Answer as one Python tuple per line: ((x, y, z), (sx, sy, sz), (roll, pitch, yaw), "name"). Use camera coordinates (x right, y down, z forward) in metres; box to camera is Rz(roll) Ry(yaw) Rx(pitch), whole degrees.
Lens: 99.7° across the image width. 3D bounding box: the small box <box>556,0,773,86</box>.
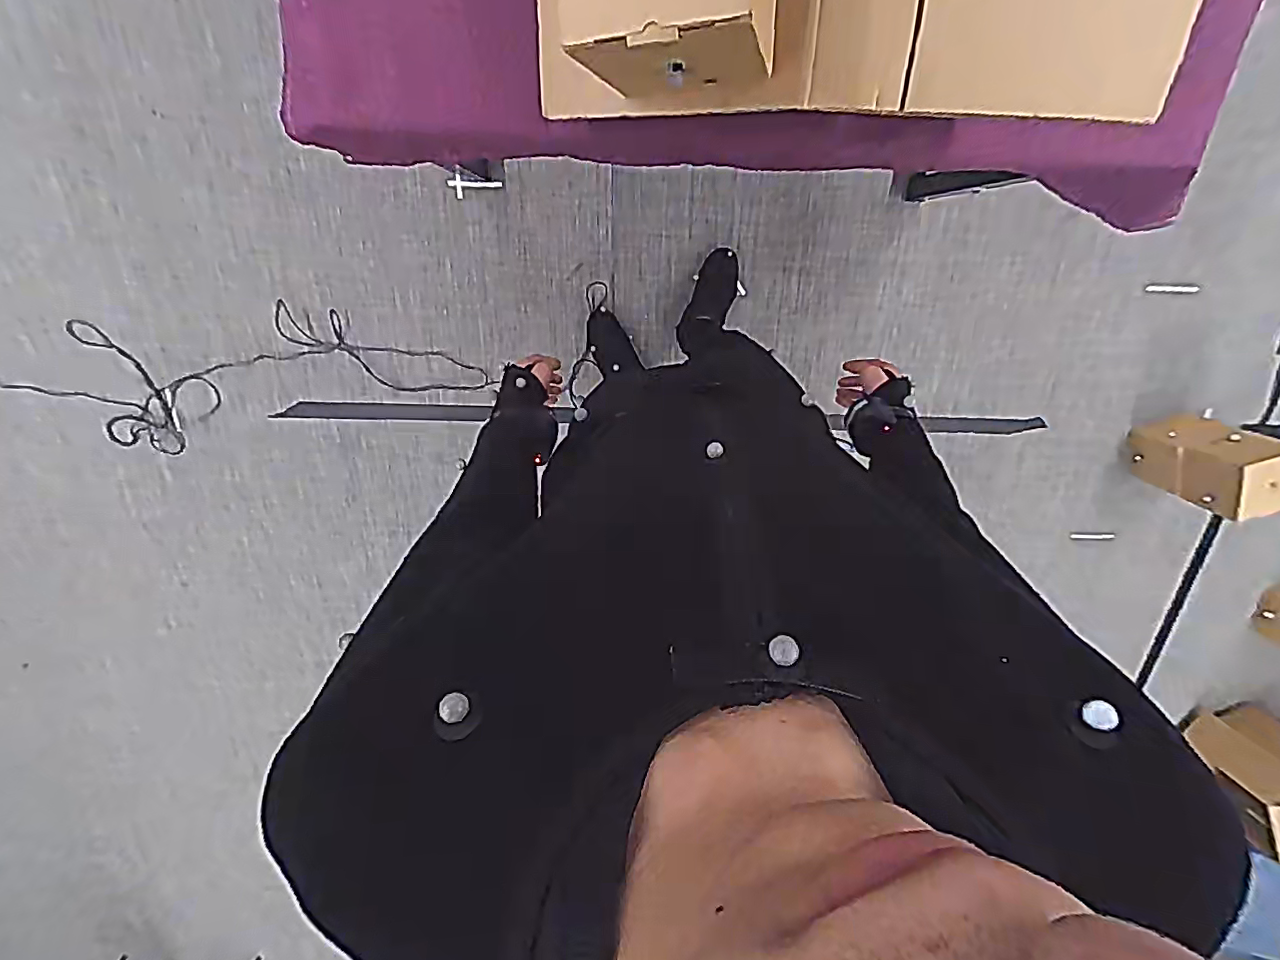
((0.030, -0.476, 0.482), (0.168, 0.176, 0.179), (5, 114, 16), "small box")
